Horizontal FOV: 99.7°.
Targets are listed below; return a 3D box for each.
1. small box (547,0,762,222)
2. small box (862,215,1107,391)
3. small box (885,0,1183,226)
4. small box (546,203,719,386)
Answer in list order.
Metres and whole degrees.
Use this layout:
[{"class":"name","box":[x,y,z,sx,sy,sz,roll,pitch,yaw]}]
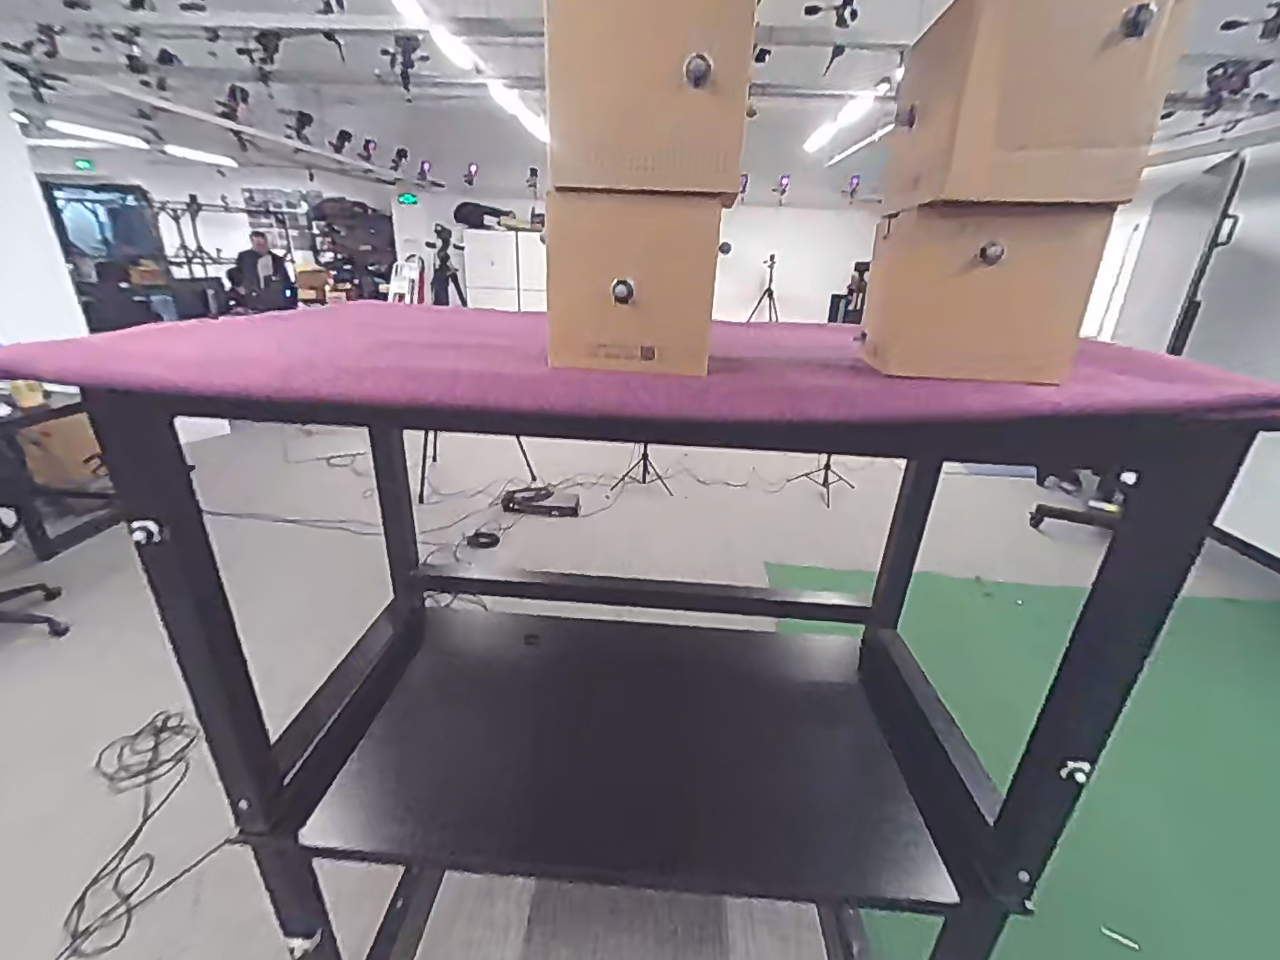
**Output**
[{"class":"small box","box":[0.016,-0.352,0.532,0.179,0.176,0.168,4,21,5]},{"class":"small box","box":[0.363,-0.197,0.613,0.179,0.176,0.168,5,21,8]},{"class":"small box","box":[0.363,-0.344,0.543,0.179,0.176,0.168,3,20,4]},{"class":"small box","box":[-0.001,-0.206,0.605,0.168,0.176,0.179,5,22,4]}]
